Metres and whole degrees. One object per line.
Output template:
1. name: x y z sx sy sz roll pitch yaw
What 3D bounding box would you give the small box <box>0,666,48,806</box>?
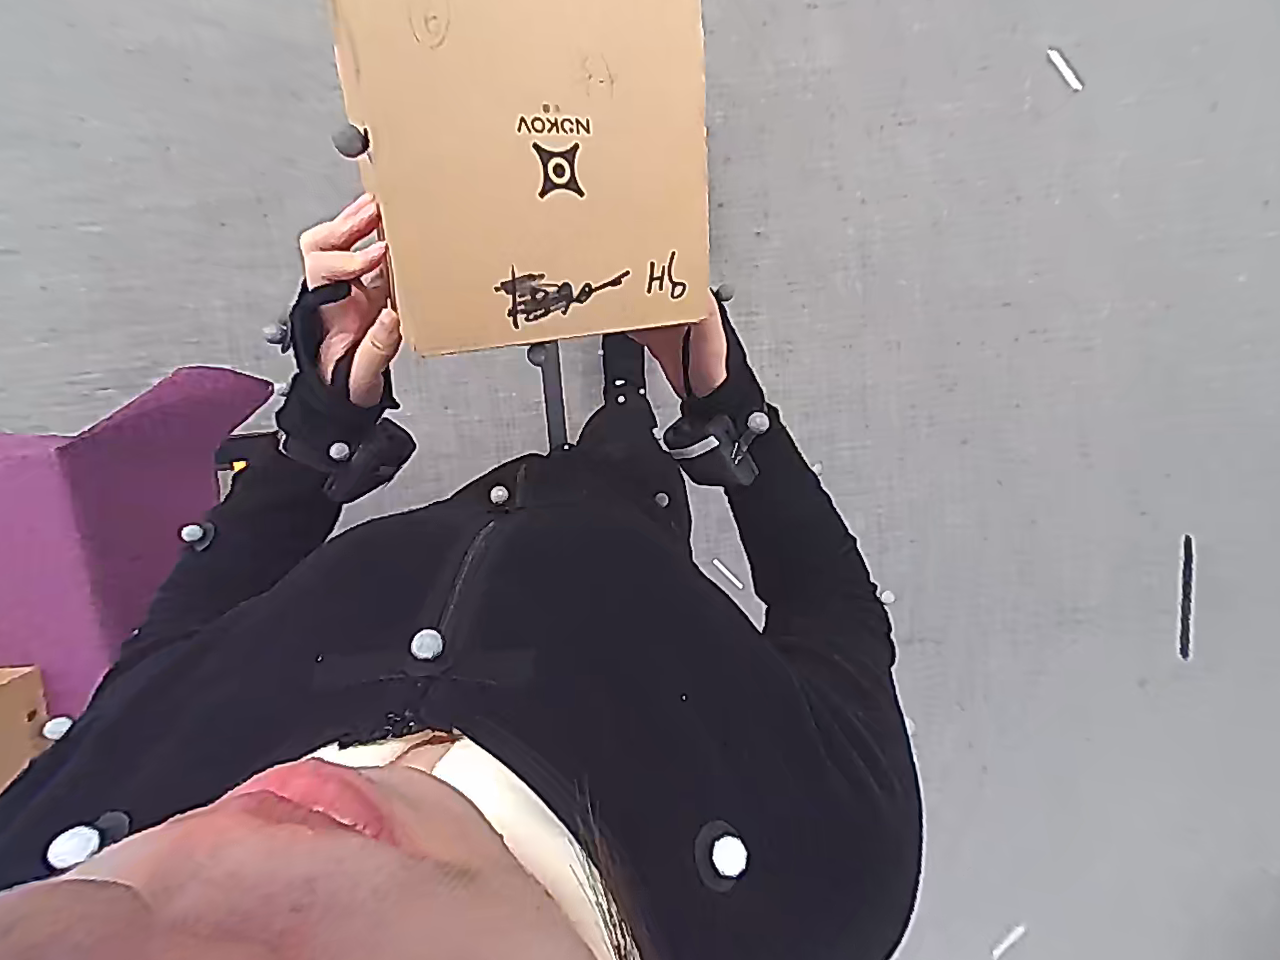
1. small box: -0.907 0.347 0.674 0.179 0.176 0.168 -1 99 -2

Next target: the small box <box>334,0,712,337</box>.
1. small box: -0.073 -0.187 0.323 0.168 0.176 0.179 -14 114 -23
